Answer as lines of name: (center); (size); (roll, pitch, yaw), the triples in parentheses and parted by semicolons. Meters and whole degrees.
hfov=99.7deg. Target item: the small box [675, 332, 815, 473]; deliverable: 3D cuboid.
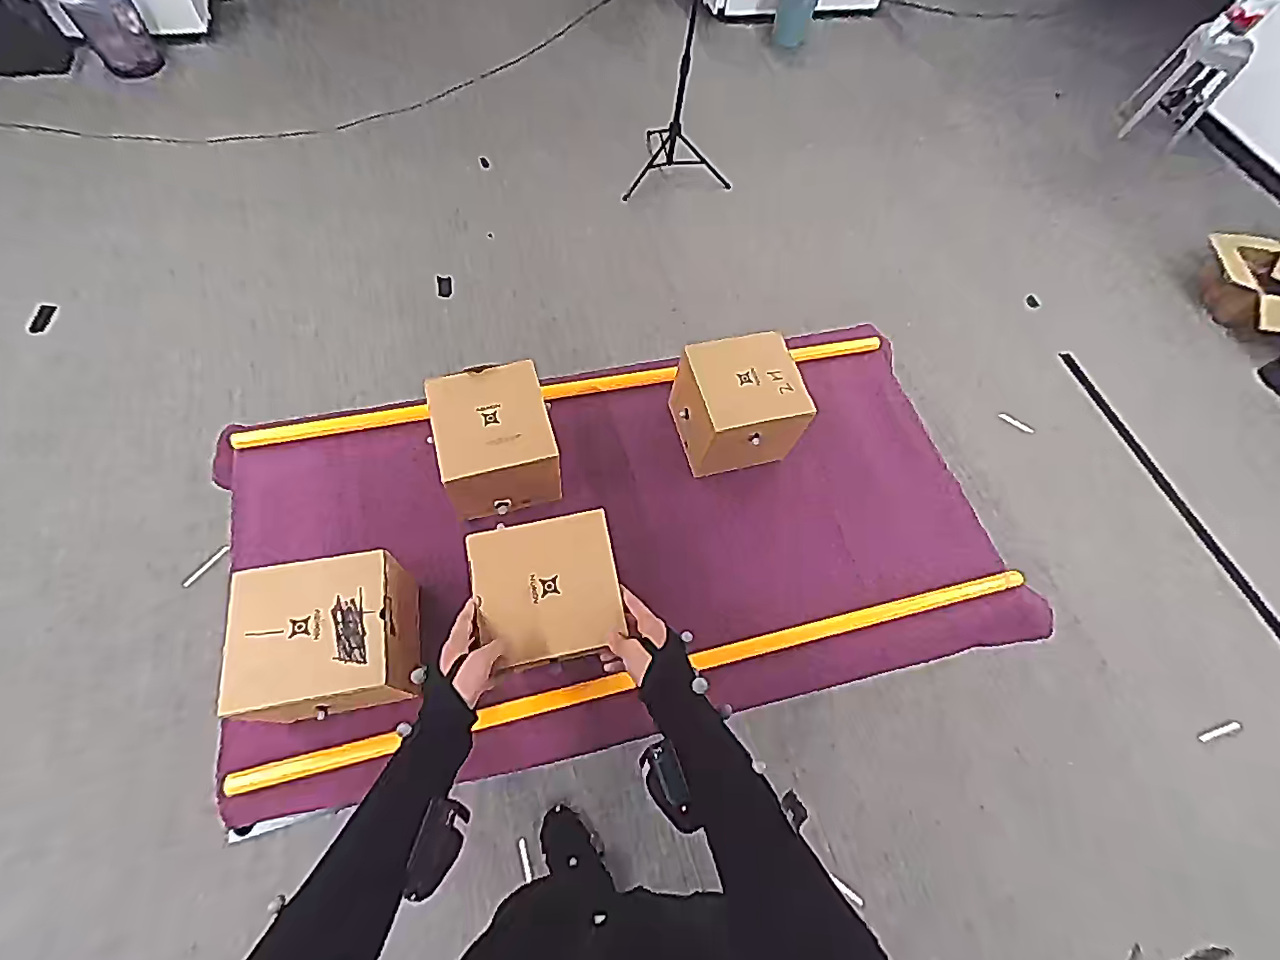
small box: (0.165, -0.127, 0.931); (0.179, 0.176, 0.168); (-12, 67, -12)

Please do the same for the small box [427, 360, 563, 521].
small box: (-0.223, -0.058, 0.854); (0.168, 0.176, 0.179); (-14, 67, -12)

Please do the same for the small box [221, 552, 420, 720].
small box: (-0.392, 0.207, 0.702); (0.179, 0.176, 0.168); (-8, 65, -11)

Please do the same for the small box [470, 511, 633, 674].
small box: (-0.112, 0.154, 0.723); (0.179, 0.176, 0.168); (-12, 72, -5)
